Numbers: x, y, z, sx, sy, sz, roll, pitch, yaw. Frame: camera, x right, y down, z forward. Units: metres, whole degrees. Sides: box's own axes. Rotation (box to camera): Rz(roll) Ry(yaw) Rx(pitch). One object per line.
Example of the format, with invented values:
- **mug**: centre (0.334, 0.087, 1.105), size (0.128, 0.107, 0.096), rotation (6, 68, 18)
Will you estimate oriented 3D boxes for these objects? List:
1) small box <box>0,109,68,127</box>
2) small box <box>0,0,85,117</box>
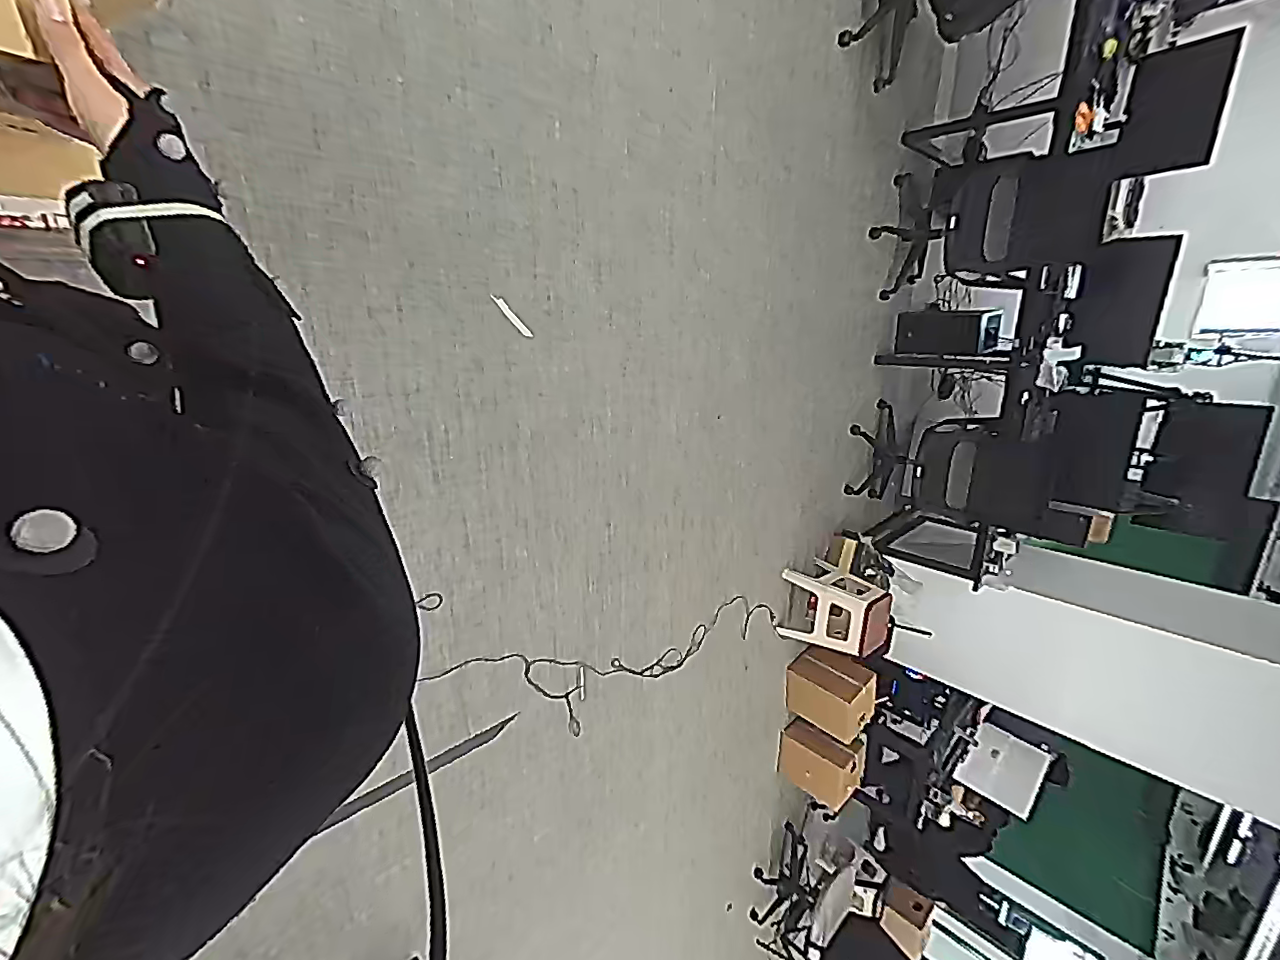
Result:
- **small box**: centre (-0.615, -0.428, 0.455), size (0.179, 0.176, 0.168), rotation (-8, 109, -47)
- **small box**: centre (-0.498, -0.363, 0.348), size (0.179, 0.176, 0.168), rotation (-12, 110, -44)
